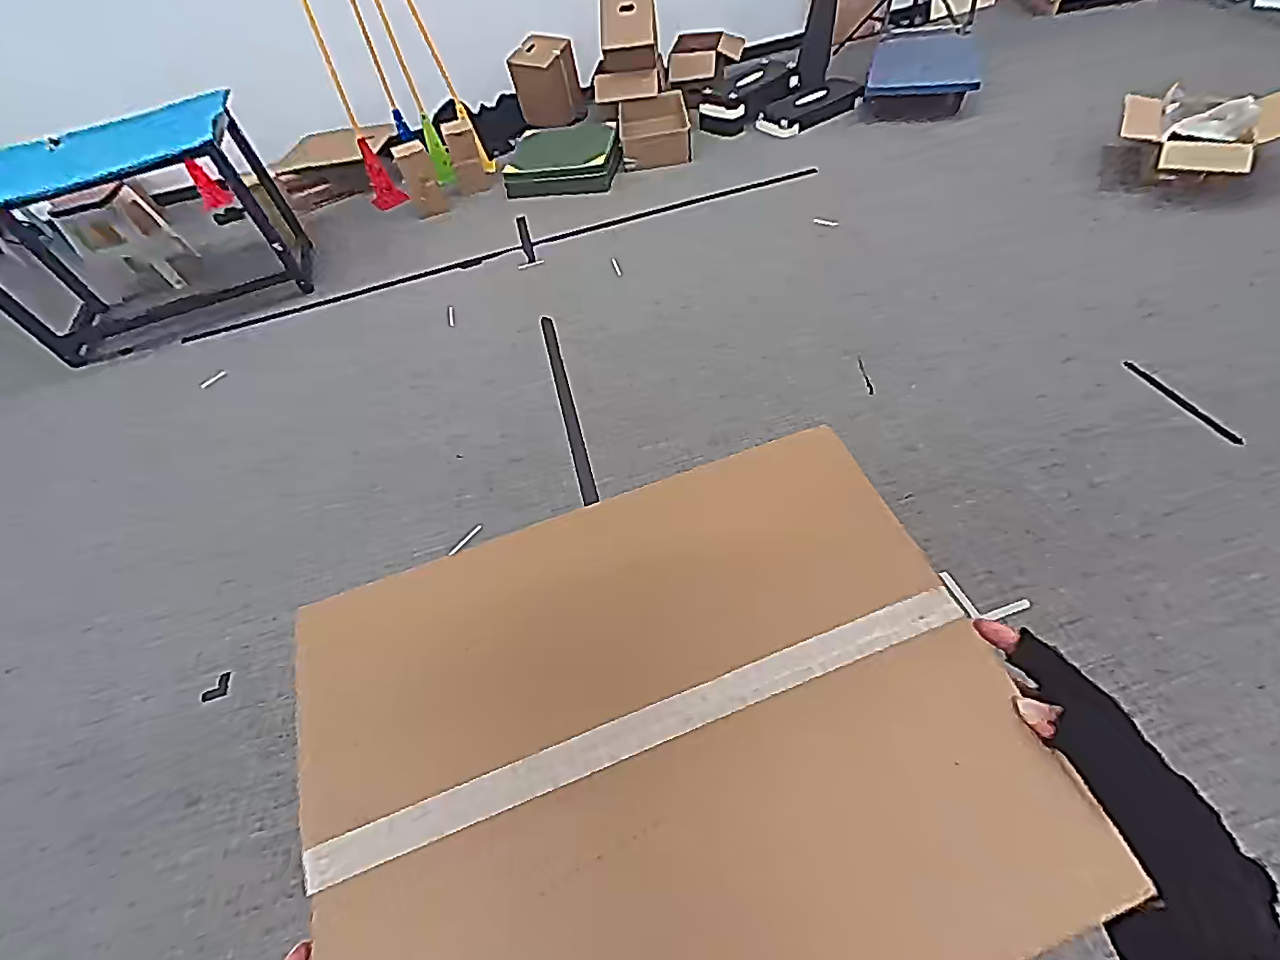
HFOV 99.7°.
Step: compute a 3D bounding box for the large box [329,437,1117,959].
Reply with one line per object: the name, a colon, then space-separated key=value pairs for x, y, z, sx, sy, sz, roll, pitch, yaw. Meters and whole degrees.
large box: x=0.025 y=0.227 z=0.458 sx=0.408 sy=0.320 sz=0.320 roll=-19 pitch=60 yaw=-7
